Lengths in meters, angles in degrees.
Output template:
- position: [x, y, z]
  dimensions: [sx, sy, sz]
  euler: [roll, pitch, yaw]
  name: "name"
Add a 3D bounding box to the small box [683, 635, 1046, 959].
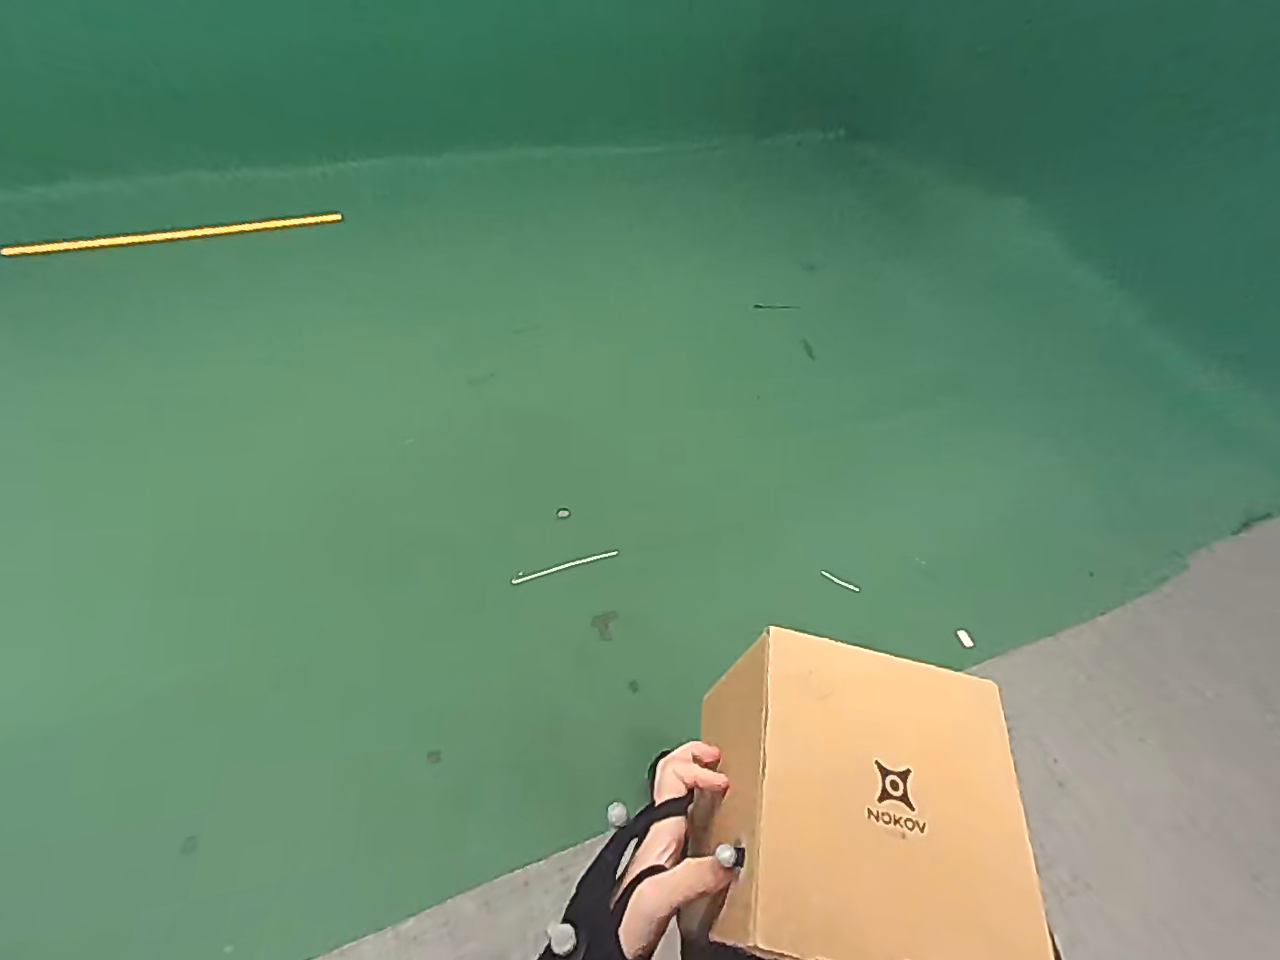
- position: [0.136, 0.241, 0.388]
  dimensions: [0.168, 0.176, 0.179]
  euler: [15, 52, -2]
  name: "small box"
